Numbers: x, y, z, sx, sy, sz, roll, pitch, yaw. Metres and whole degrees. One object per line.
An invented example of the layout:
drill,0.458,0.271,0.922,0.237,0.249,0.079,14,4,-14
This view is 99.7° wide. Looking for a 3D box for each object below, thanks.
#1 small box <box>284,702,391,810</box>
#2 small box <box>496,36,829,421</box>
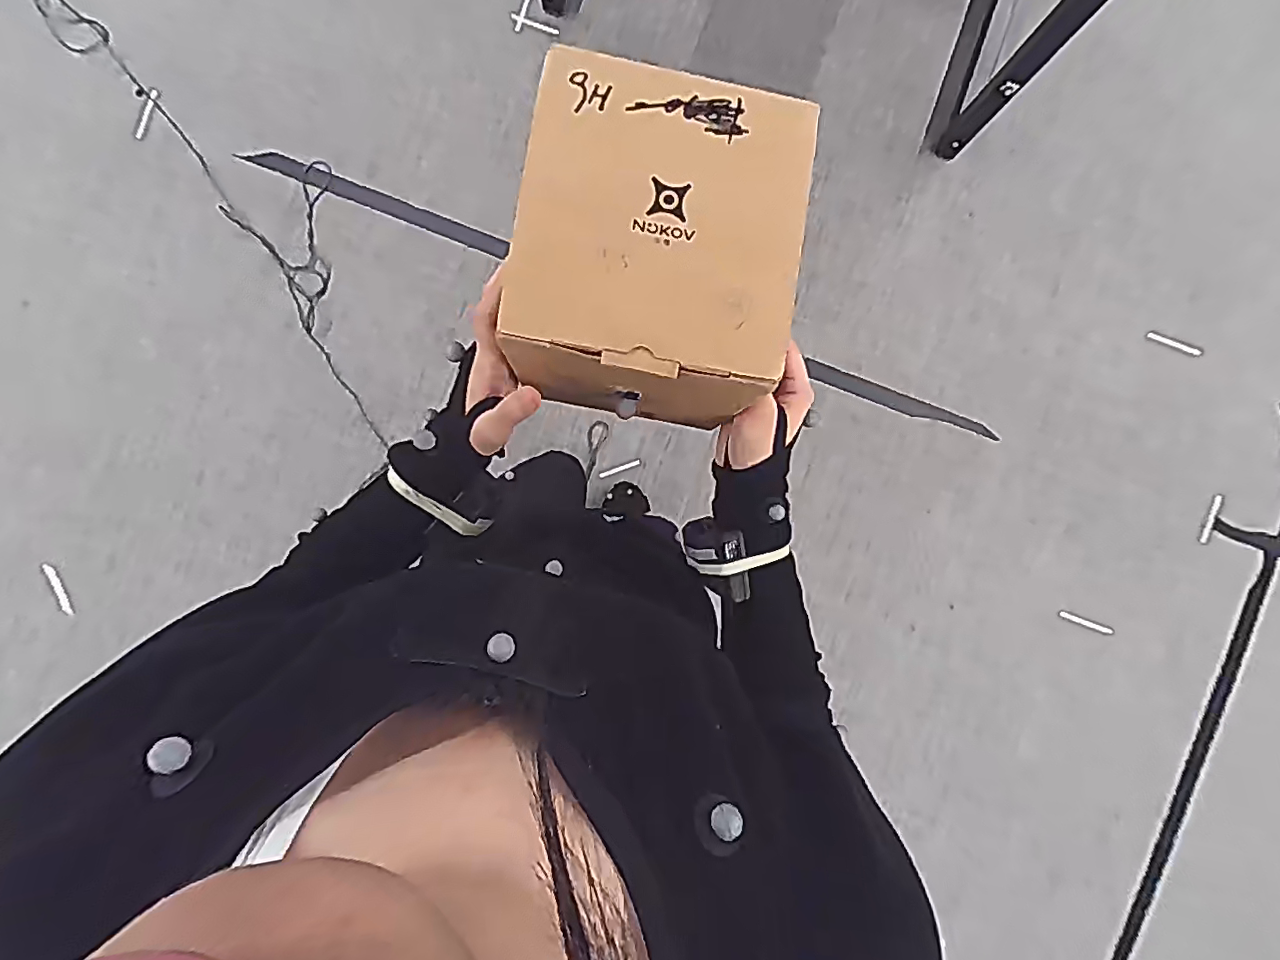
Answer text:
small box,-0.770,0.703,1.398,0.168,0.176,0.179,14,91,-1
small box,0.009,-0.146,0.383,0.168,0.176,0.179,10,87,-5
